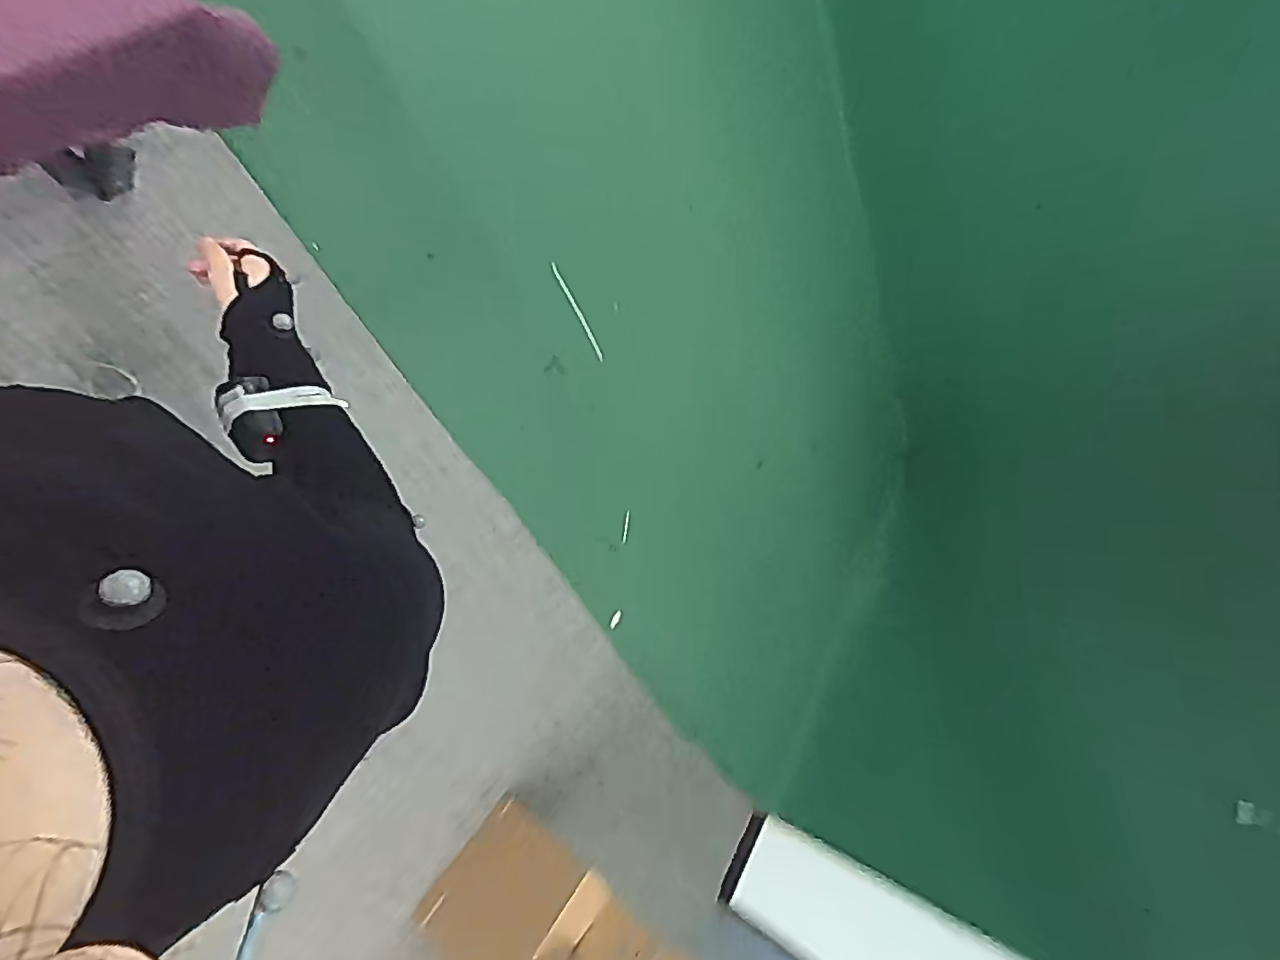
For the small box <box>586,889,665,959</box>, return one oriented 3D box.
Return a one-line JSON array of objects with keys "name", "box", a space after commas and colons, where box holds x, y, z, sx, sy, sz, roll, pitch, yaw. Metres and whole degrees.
[{"name": "small box", "box": [-0.024, 1.346, 1.563, 0.179, 0.176, 0.168, -40, 122, -34]}]
